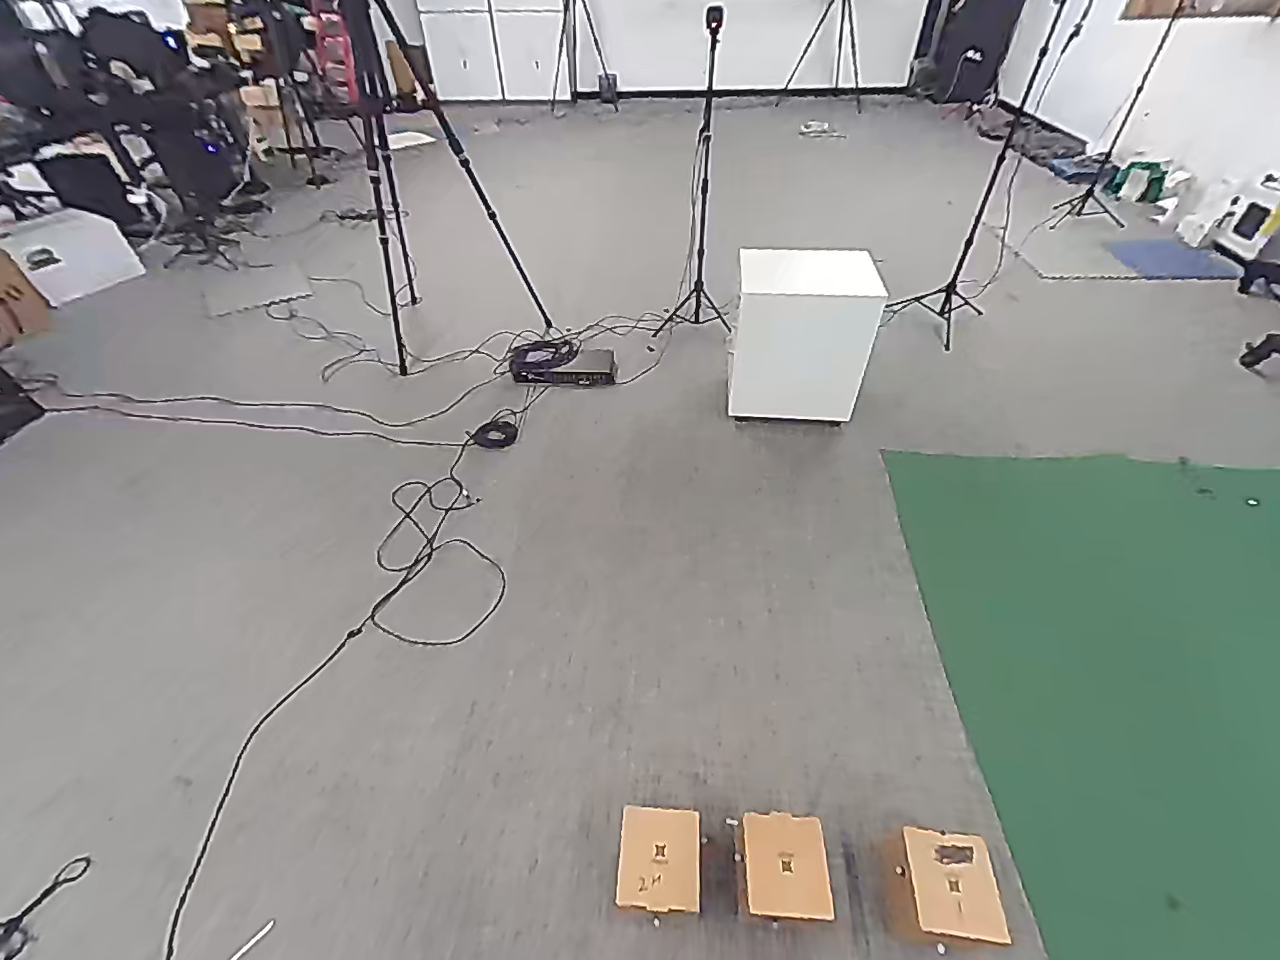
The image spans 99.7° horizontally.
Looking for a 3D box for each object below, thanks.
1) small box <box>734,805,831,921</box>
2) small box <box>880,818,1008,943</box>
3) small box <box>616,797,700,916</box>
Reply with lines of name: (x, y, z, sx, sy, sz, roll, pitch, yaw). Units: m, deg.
small box: (0.297, 0.823, 1.159, 0.168, 0.176, 0.179, 2, 45, 3)
small box: (0.622, 0.840, 1.134, 0.168, 0.176, 0.179, 4, 46, 6)
small box: (0.042, 0.814, 1.169, 0.168, 0.176, 0.179, 2, 45, 4)
